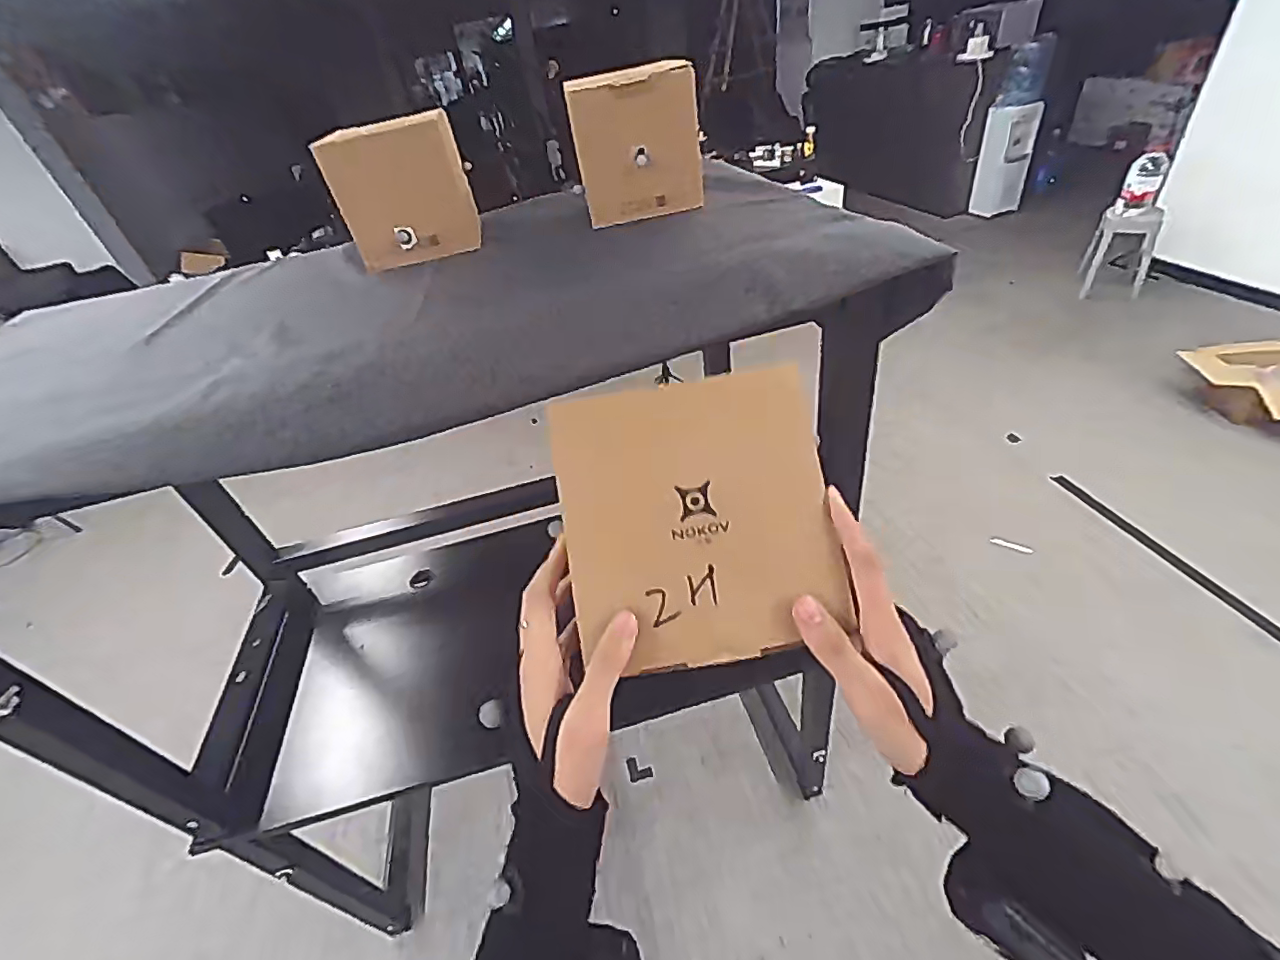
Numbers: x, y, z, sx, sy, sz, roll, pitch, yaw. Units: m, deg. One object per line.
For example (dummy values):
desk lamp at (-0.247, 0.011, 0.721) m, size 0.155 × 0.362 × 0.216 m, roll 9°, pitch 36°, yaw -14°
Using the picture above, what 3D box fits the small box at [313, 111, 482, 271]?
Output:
small box at (-0.345, -0.432, 0.808) m, size 0.168 × 0.176 × 0.179 m, roll -16°, pitch 40°, yaw -4°

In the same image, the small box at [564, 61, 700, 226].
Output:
small box at (-0.012, -0.490, 0.796) m, size 0.168 × 0.176 × 0.179 m, roll -12°, pitch 41°, yaw 0°

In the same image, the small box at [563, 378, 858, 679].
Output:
small box at (0.040, 0.042, 0.420) m, size 0.168 × 0.176 × 0.179 m, roll -9°, pitch 78°, yaw -1°
